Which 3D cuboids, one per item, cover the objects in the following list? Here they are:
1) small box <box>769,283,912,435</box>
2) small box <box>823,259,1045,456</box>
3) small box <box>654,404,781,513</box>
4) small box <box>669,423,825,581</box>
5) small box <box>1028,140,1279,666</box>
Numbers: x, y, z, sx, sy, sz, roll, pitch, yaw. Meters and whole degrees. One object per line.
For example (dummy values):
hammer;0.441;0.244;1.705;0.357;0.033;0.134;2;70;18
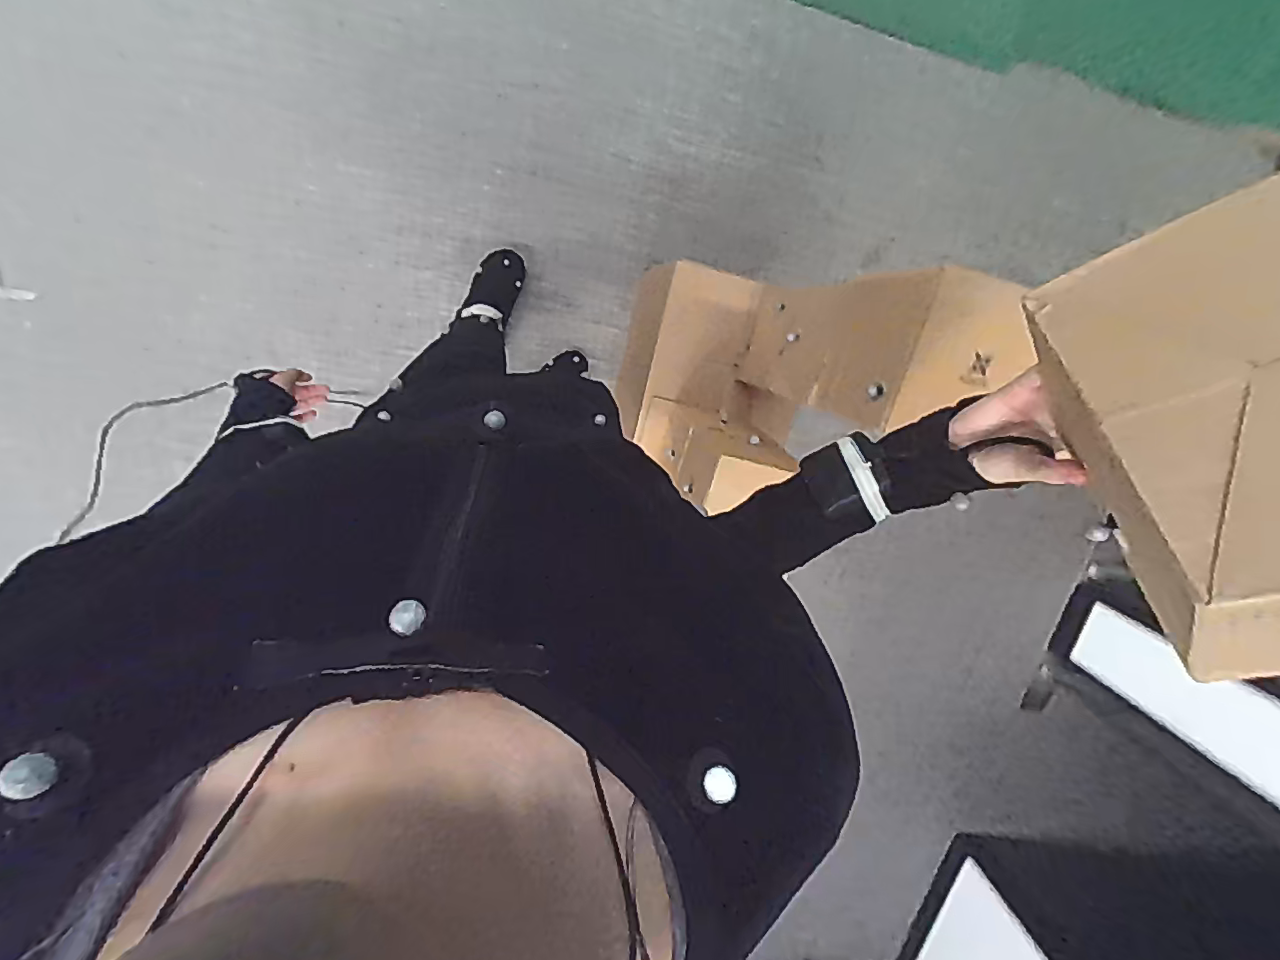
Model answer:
small box;0.321;-0.184;0.800;0.179;0.176;0.168;16;104;-13
small box;0.345;-0.146;0.642;0.168;0.176;0.179;11;106;-11
small box;0.131;-0.030;0.997;0.168;0.176;0.179;14;106;-11
small box;0.153;0.028;0.845;0.168;0.176;0.179;14;106;-12
small box;0.311;-0.033;0.247;0.168;0.179;0.176;-25;140;32
